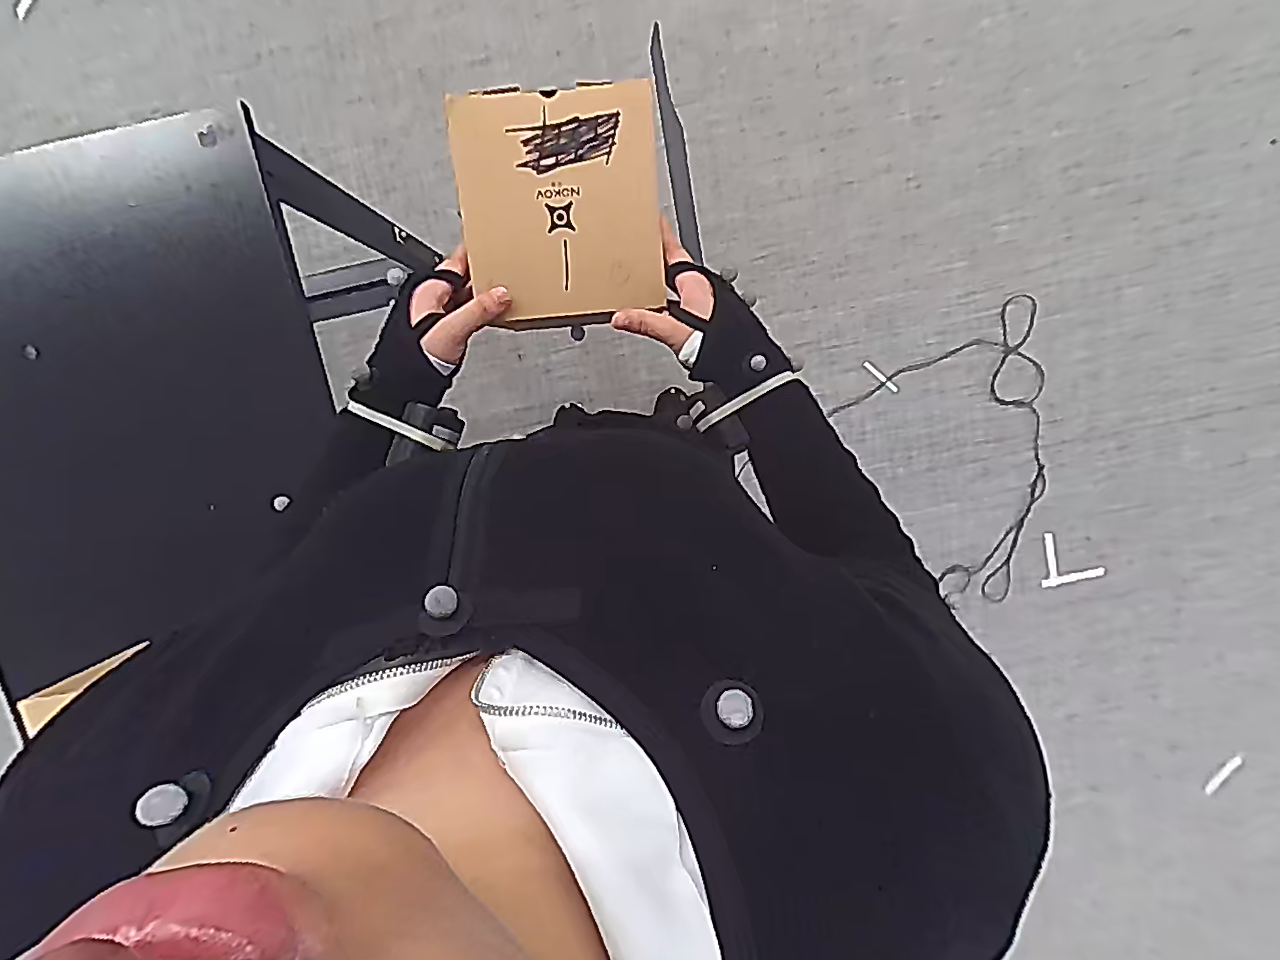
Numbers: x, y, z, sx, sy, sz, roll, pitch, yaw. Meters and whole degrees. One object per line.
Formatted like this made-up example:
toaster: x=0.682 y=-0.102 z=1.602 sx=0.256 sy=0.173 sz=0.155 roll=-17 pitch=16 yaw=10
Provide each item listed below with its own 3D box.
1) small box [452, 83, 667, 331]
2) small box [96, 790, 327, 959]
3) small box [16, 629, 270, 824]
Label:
small box: x=-0.066 y=-0.242 z=0.523 sx=0.168 sy=0.176 sz=0.179 roll=-5 pitch=103 yaw=-1
small box: x=-0.585 y=0.571 z=0.765 sx=0.168 sy=0.176 sz=0.179 roll=-12 pitch=97 yaw=3
small box: x=-0.642 y=0.317 z=0.730 sx=0.179 sy=0.176 sz=0.168 roll=-11 pitch=97 yaw=3
